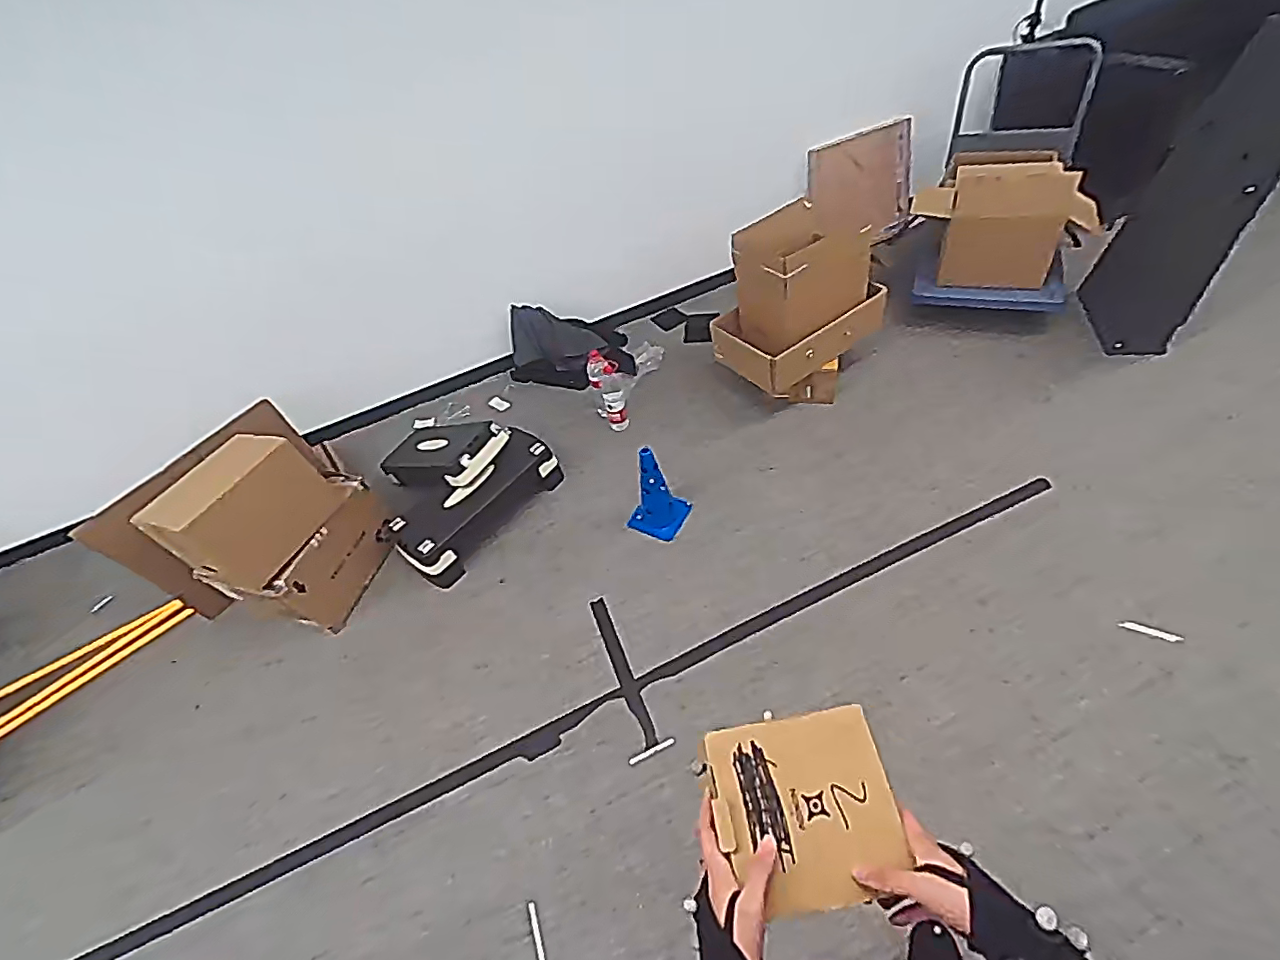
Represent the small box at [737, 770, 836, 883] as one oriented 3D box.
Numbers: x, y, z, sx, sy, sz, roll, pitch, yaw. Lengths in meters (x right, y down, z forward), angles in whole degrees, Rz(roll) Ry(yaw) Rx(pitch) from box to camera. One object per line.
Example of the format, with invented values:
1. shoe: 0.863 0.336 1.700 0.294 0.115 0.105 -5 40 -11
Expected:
1. small box: 0.345 0.830 1.289 0.168 0.176 0.179 -20 47 -5
